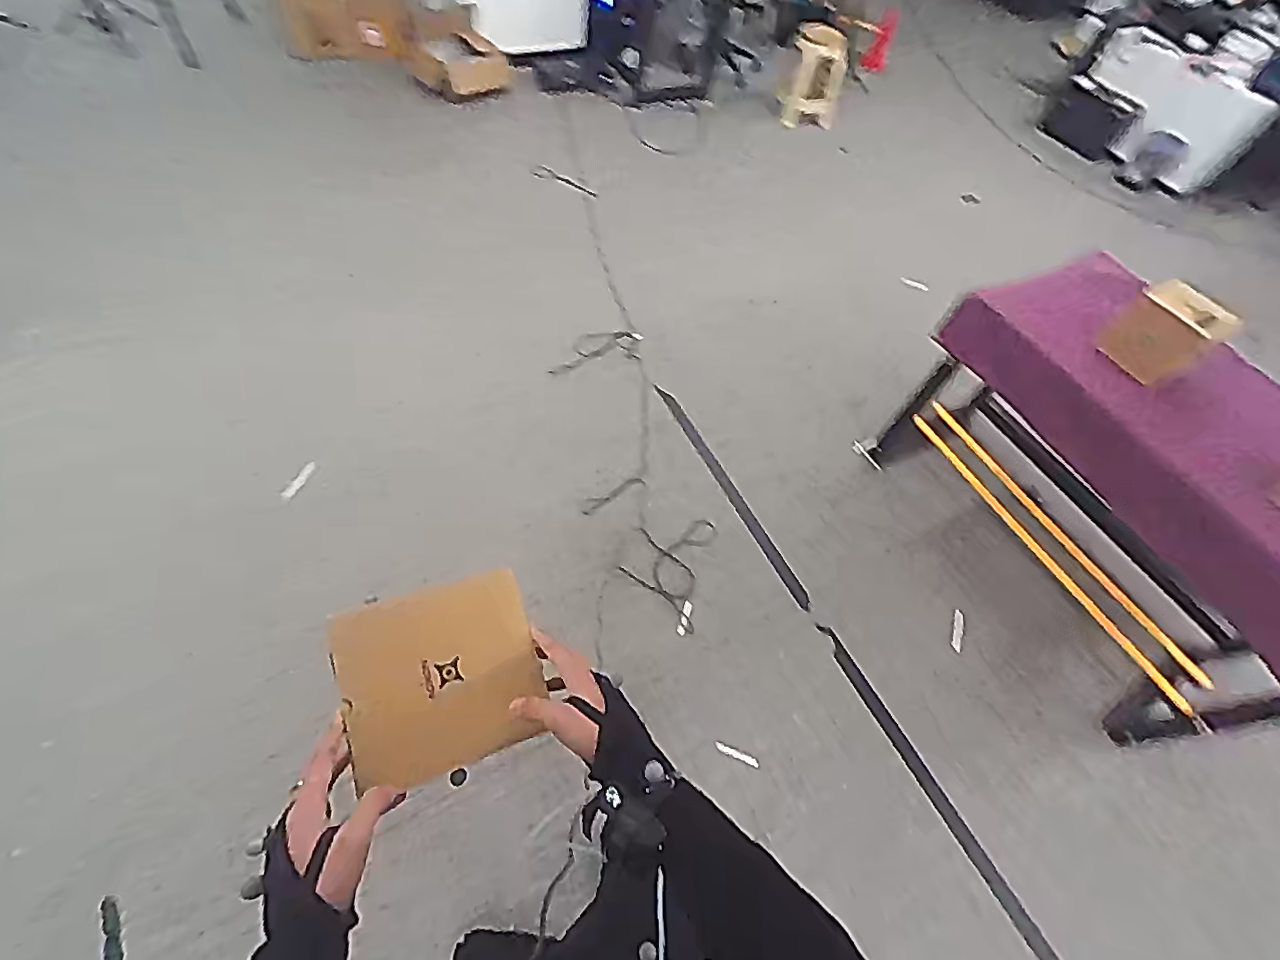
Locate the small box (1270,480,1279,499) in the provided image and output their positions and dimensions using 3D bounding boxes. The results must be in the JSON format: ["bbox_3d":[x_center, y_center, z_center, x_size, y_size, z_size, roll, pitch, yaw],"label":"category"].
[{"bbox_3d":[1.551,0.020,1.166,0.179,0.176,0.168,-21,63,-21],"label":"small box"}]

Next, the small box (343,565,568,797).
[{"bbox_3d":[-0.196,0.204,0.579,0.179,0.176,0.168,-13,74,-23],"label":"small box"}]
